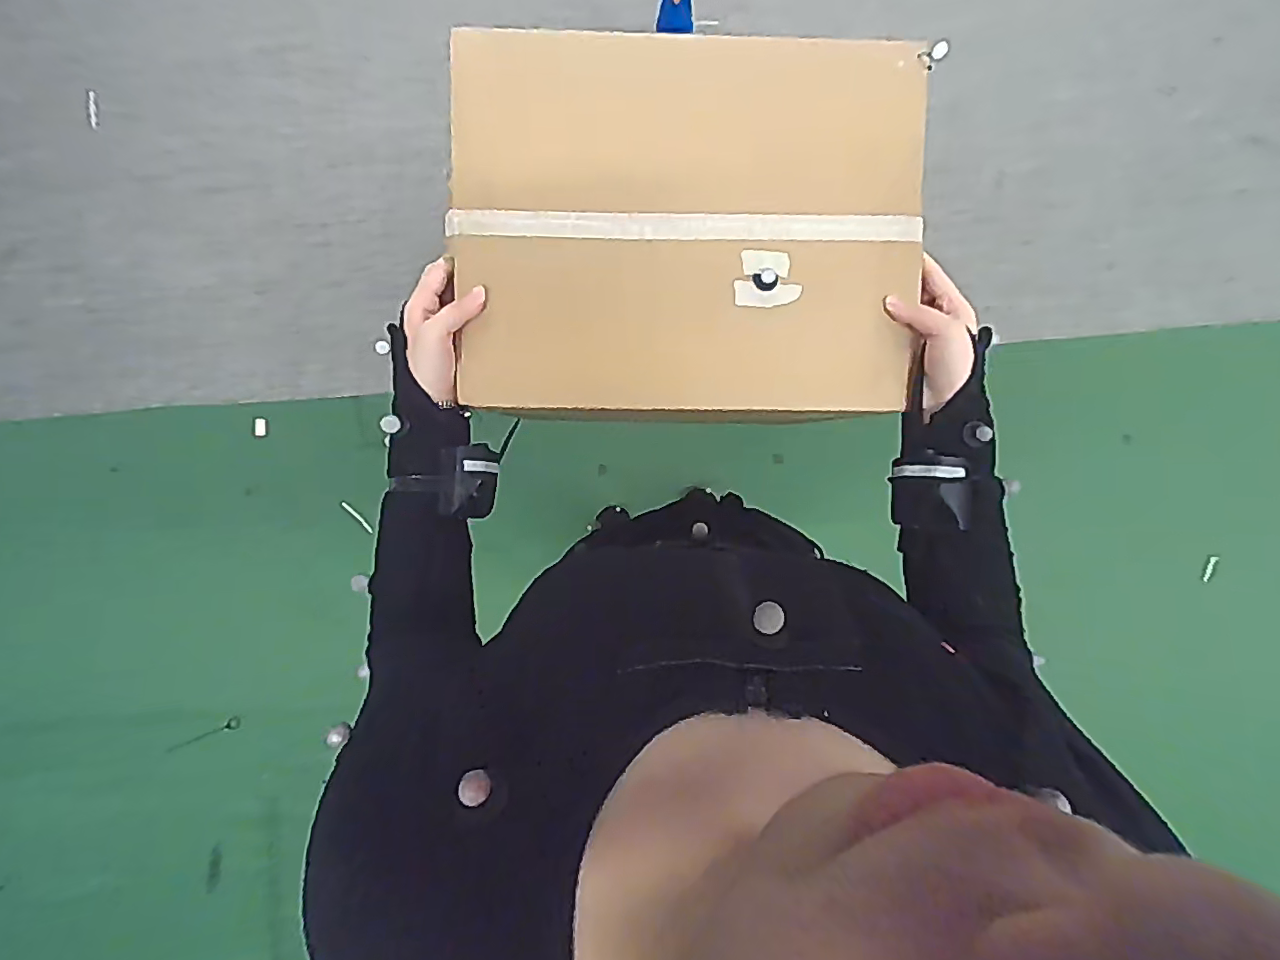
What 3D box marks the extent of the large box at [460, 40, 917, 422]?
[{"bbox_3d":[0.038,-0.232,0.623,0.408,0.320,0.320,0,94,-3],"label":"large box"}]
